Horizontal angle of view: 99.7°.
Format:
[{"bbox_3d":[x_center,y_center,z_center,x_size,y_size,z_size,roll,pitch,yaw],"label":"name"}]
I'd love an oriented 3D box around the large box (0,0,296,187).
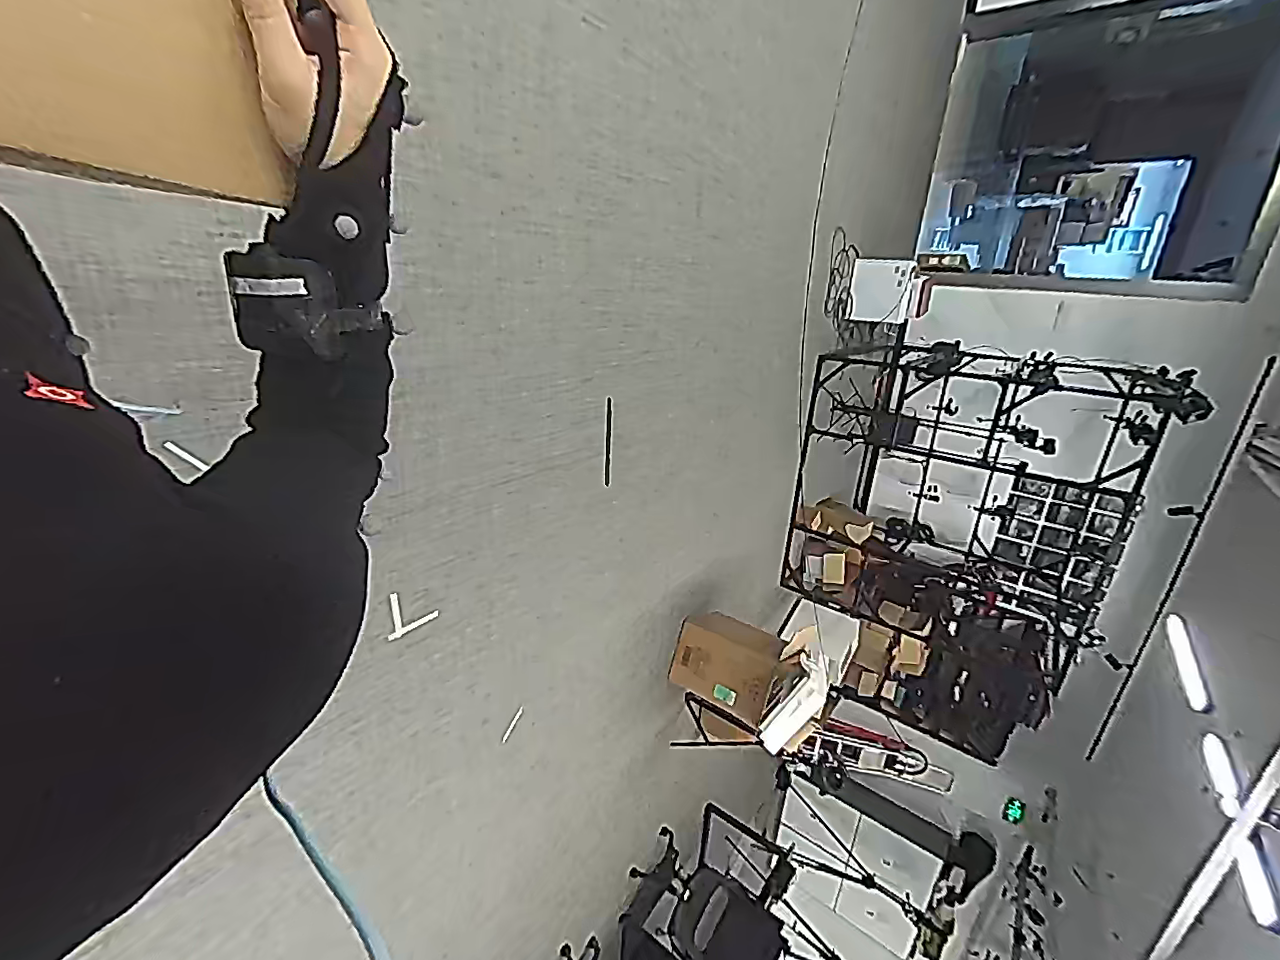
[{"bbox_3d":[-0.409,-0.319,0.176,0.408,0.320,0.320,-19,125,-56],"label":"large box"}]
